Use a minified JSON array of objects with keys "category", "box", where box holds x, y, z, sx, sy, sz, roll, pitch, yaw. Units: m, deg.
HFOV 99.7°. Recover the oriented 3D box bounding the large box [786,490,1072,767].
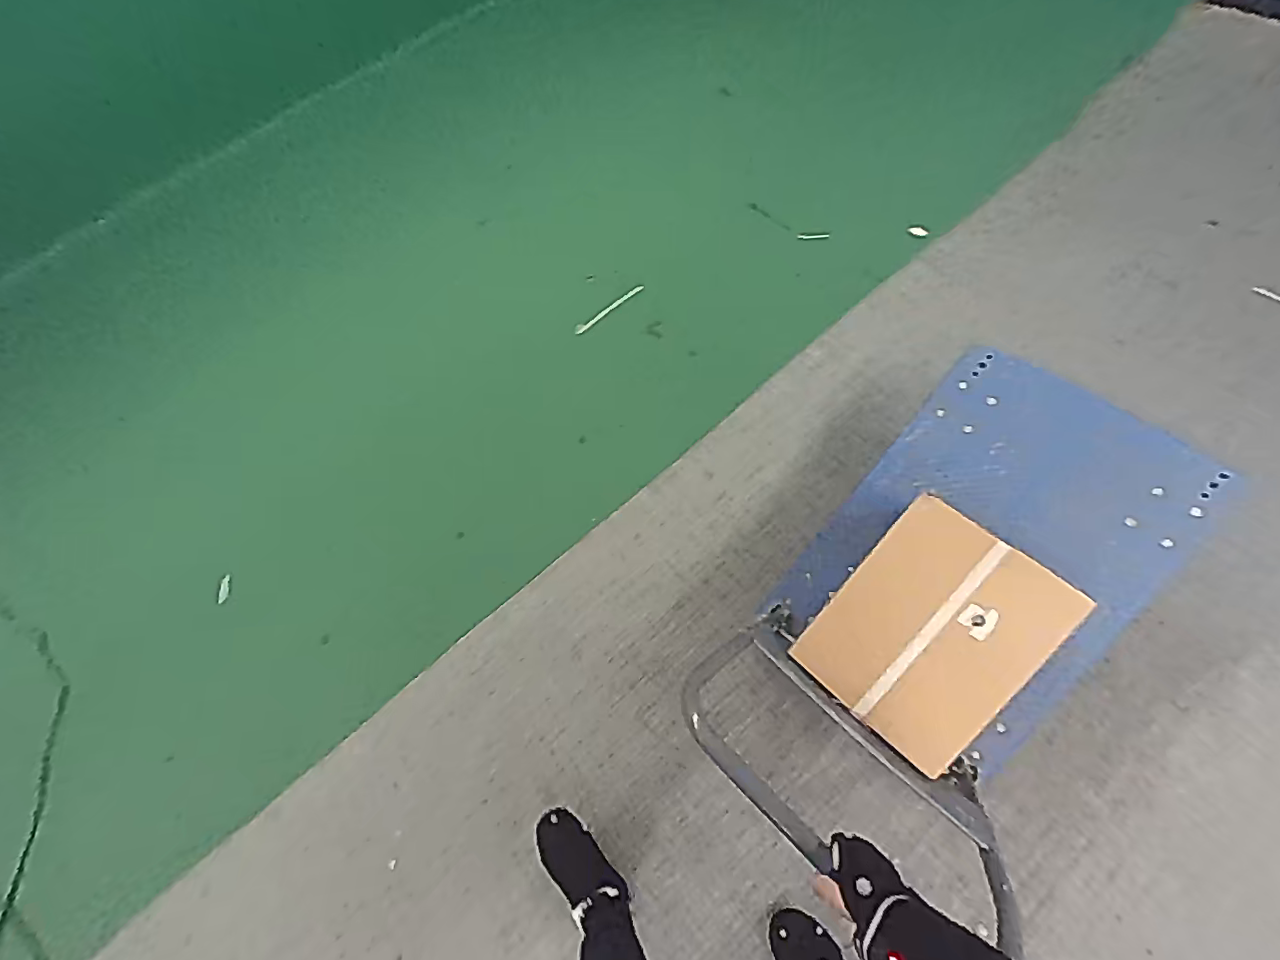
[{"category":"large box","box":[0.565,0.291,1.124,0.320,0.320,0.408,40,97,24]}]
